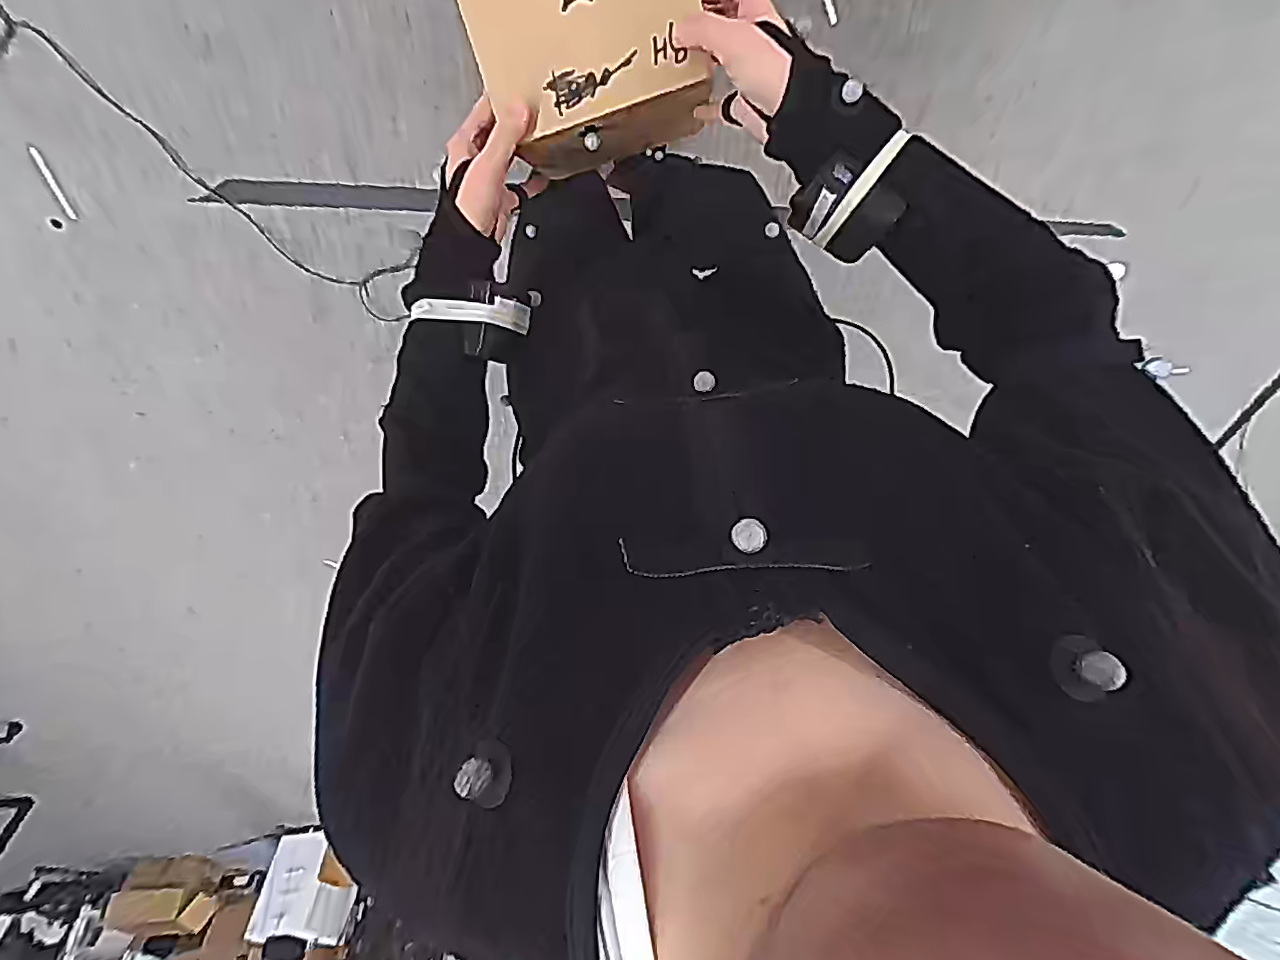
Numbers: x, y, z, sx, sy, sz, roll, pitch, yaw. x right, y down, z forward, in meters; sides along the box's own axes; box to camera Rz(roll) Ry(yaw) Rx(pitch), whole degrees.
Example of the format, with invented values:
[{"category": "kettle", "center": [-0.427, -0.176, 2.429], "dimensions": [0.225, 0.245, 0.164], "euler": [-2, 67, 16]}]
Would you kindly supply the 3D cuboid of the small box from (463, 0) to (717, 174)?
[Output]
[{"category": "small box", "center": [-0.041, -0.379, 0.441], "dimensions": [0.168, 0.176, 0.179], "euler": [-13, 110, 9]}]
